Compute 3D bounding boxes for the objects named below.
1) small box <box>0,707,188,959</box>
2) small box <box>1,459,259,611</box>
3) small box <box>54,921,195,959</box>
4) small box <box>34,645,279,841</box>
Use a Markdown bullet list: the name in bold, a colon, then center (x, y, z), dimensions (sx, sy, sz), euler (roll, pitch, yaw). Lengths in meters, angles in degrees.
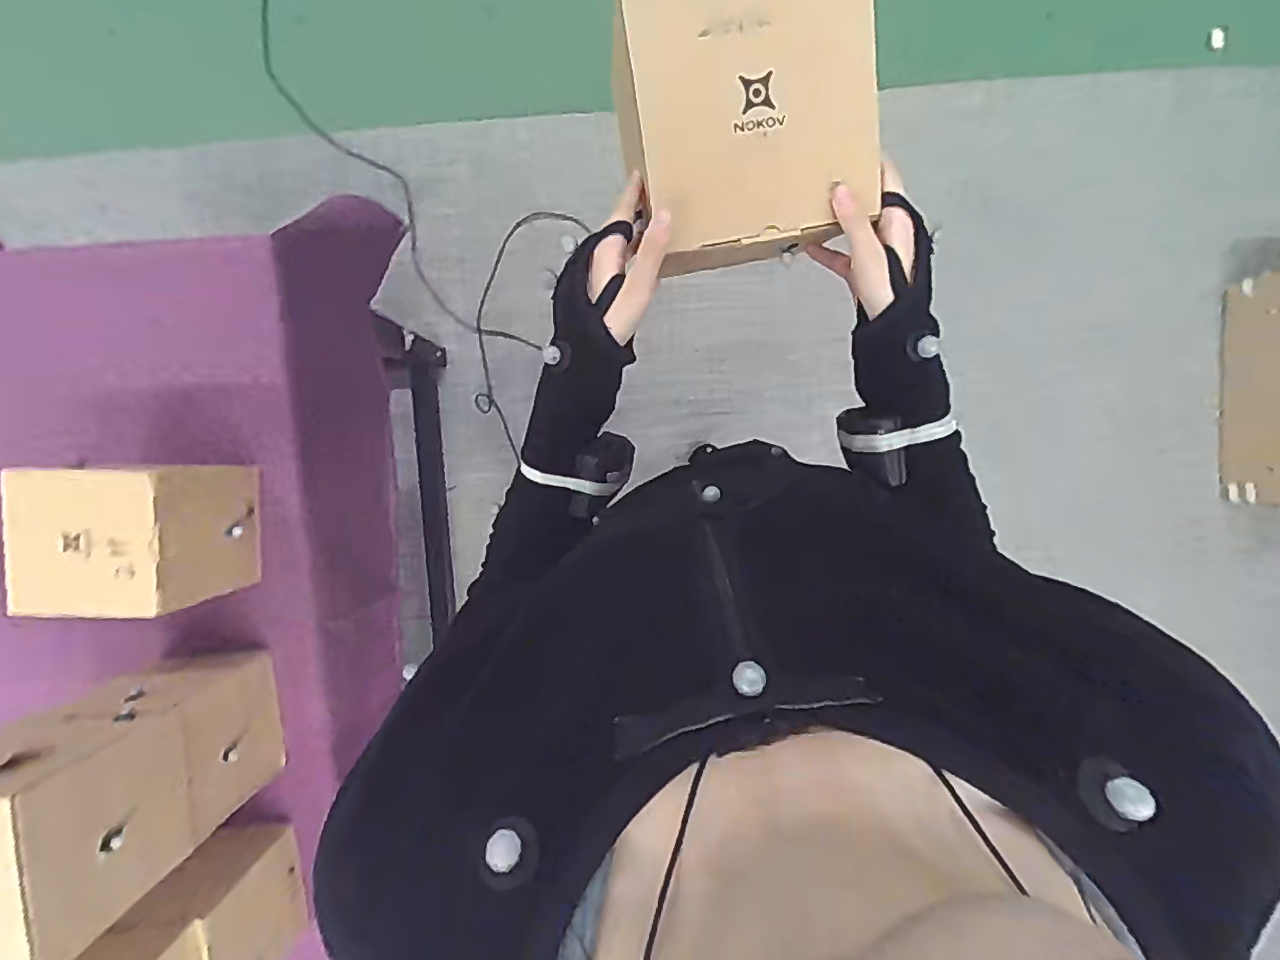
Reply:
- **small box**: center (-0.605, 0.343, 0.541), dimensions (0.168, 0.176, 0.179), euler (-4, 94, 1)
- **small box**: center (-0.630, 0.060, 0.688), dimensions (0.179, 0.176, 0.168), euler (1, 94, 1)
- **small box**: center (-0.598, 0.603, 0.557), dimensions (0.179, 0.176, 0.168), euler (-8, 93, 2)
- **small box**: center (-0.608, 0.335, 0.705), dimensions (0.168, 0.176, 0.179), euler (-5, 93, 1)
